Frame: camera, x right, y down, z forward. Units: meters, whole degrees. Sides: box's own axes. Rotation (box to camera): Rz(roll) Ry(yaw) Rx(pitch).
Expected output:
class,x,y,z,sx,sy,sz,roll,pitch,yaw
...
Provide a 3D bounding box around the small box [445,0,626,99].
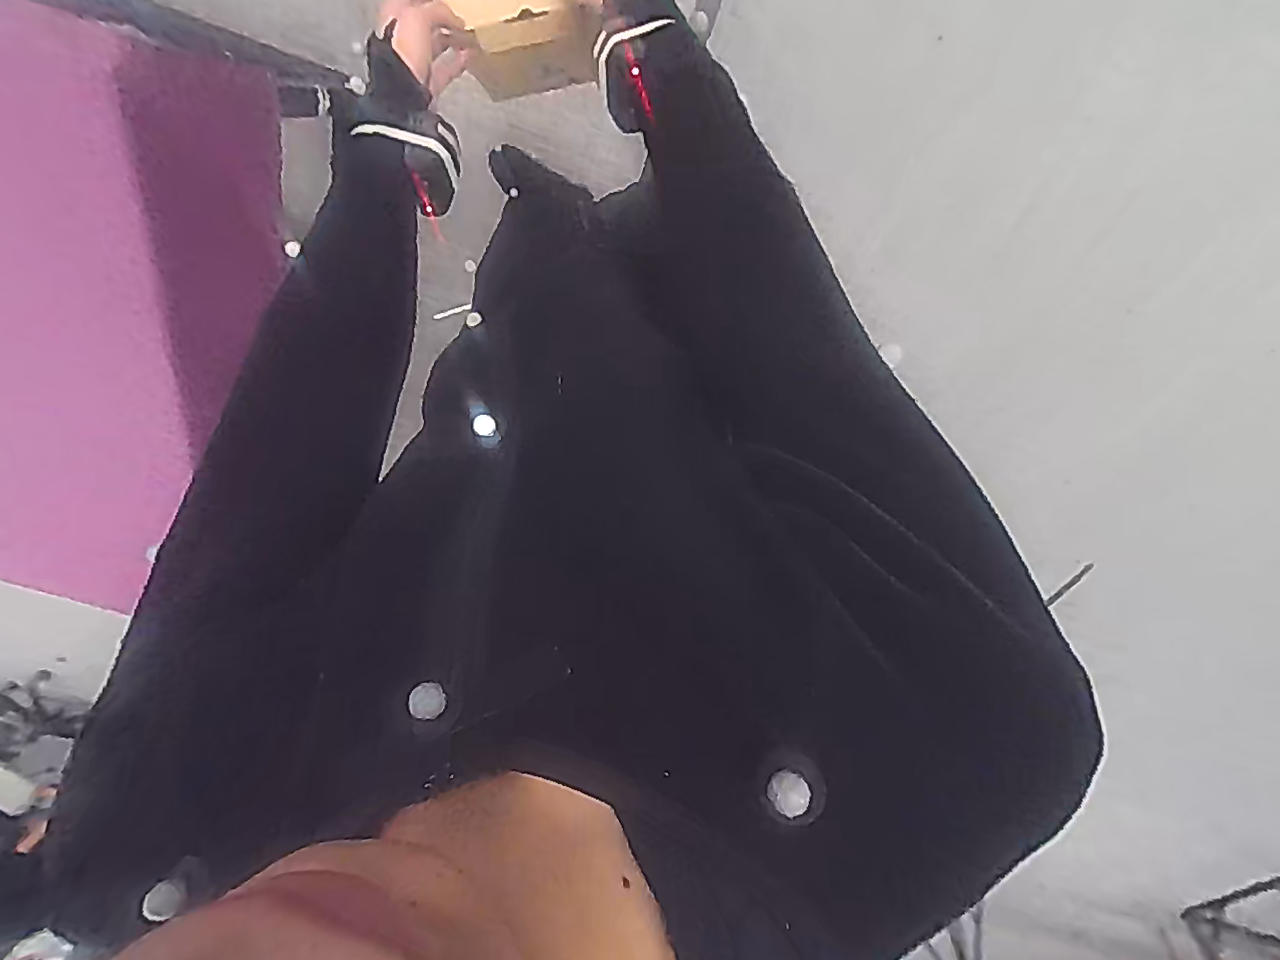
class,x,y,z,sx,sy,sz,roll,pitch,yaw
small box,-0.109,-0.539,0.565,0.168,0.176,0.179,-7,108,5
